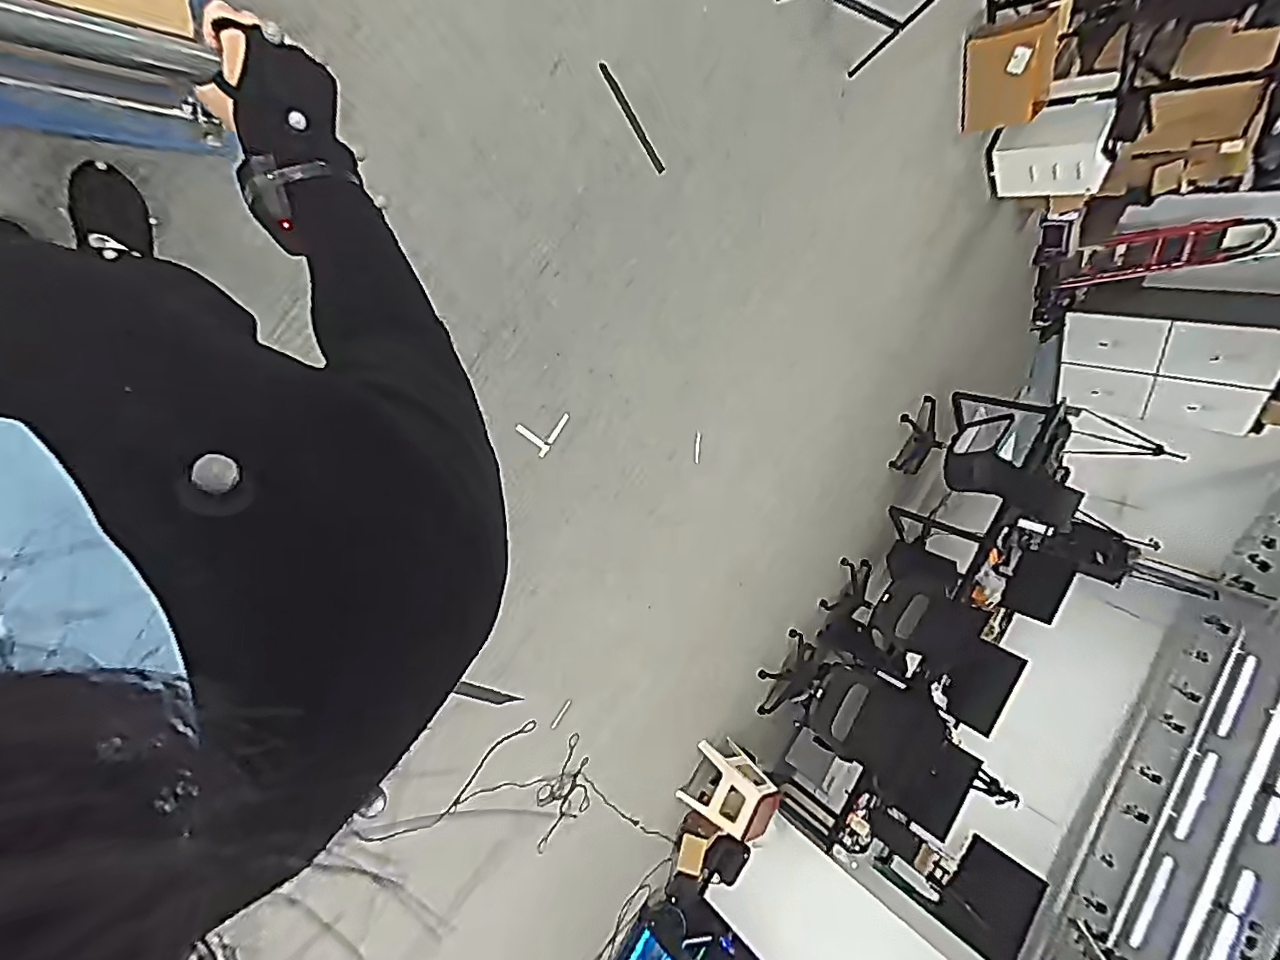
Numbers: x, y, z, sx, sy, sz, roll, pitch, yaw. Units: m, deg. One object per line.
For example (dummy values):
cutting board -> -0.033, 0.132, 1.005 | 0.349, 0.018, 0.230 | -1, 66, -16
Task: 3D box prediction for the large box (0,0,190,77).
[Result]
large box -> -0.816, -0.715, 0.607 | 0.408, 0.320, 0.320 | -16, 120, -42
